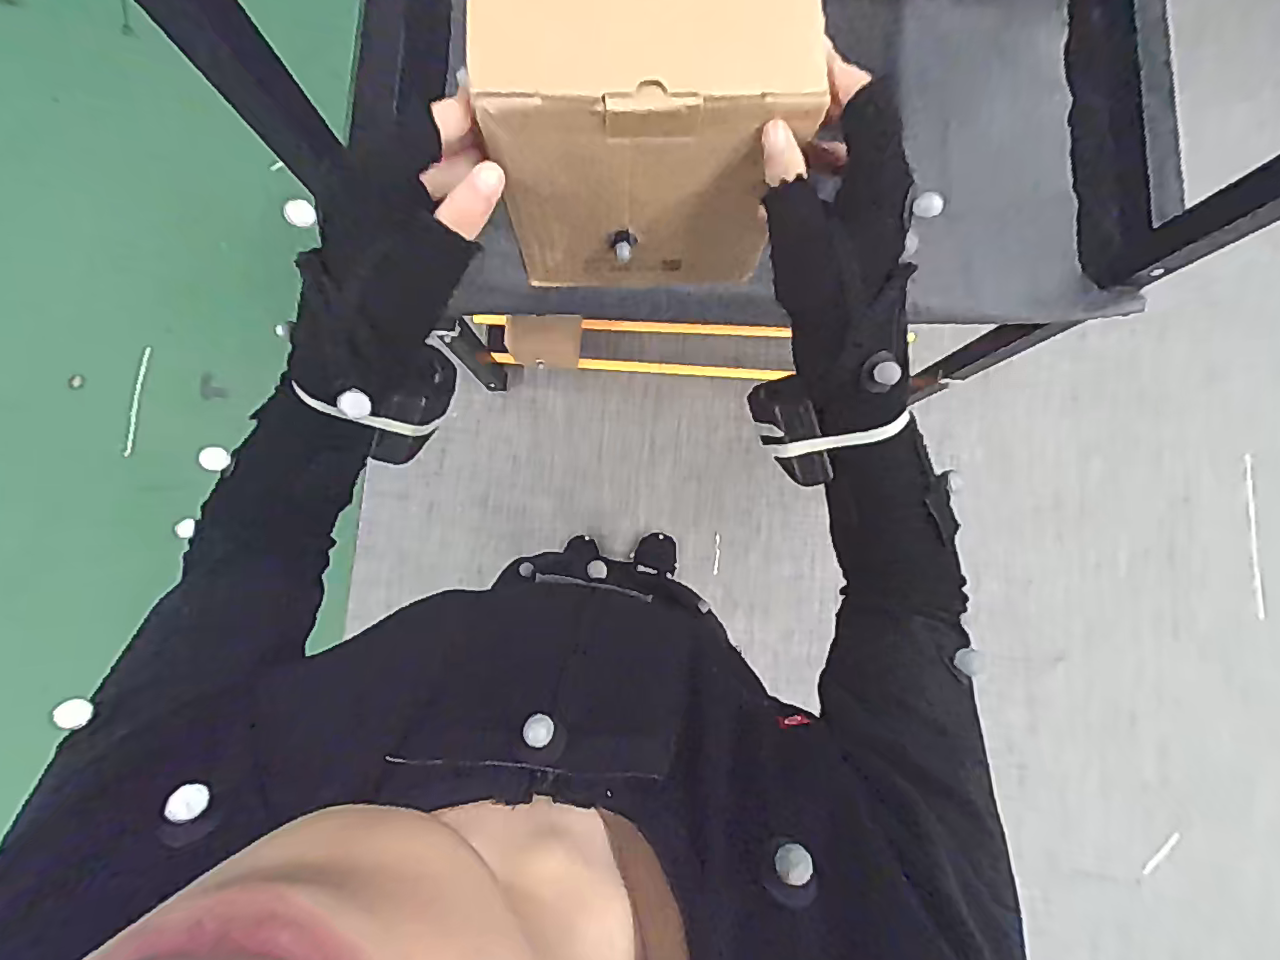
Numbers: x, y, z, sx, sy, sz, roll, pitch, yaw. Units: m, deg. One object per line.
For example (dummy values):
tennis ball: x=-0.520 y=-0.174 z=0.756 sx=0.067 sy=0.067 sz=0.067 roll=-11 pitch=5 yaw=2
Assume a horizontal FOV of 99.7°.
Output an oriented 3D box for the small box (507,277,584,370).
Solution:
small box: x=-0.233 y=-0.392 z=1.376 sx=0.168 sy=0.176 sz=0.179 roll=3 pitch=85 yaw=-1
